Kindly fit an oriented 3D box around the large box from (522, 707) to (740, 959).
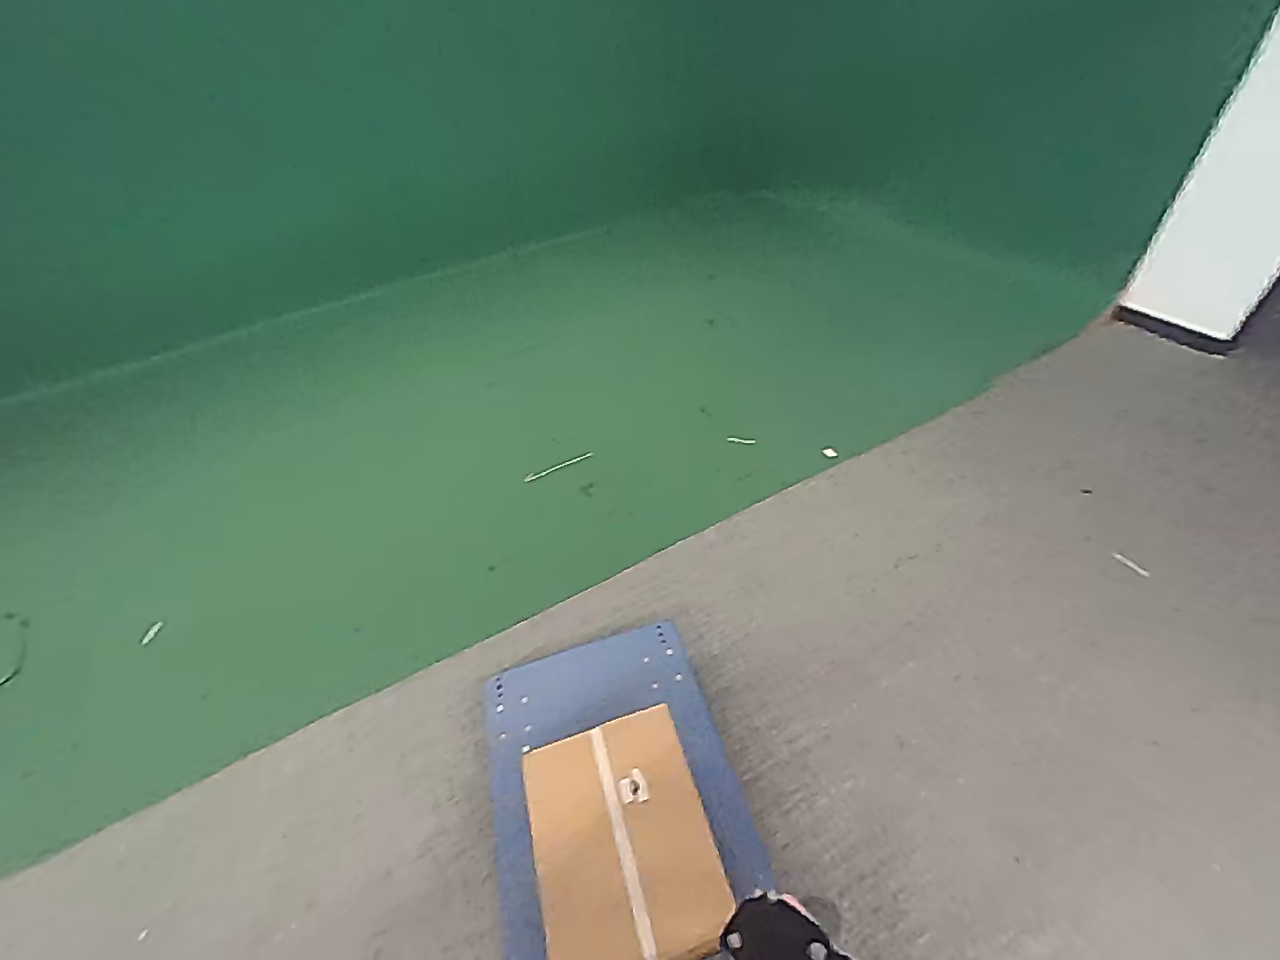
[{"bbox_3d":[-0.020,0.758,1.095,0.320,0.320,0.408,-16,44,-8],"label":"large box"}]
